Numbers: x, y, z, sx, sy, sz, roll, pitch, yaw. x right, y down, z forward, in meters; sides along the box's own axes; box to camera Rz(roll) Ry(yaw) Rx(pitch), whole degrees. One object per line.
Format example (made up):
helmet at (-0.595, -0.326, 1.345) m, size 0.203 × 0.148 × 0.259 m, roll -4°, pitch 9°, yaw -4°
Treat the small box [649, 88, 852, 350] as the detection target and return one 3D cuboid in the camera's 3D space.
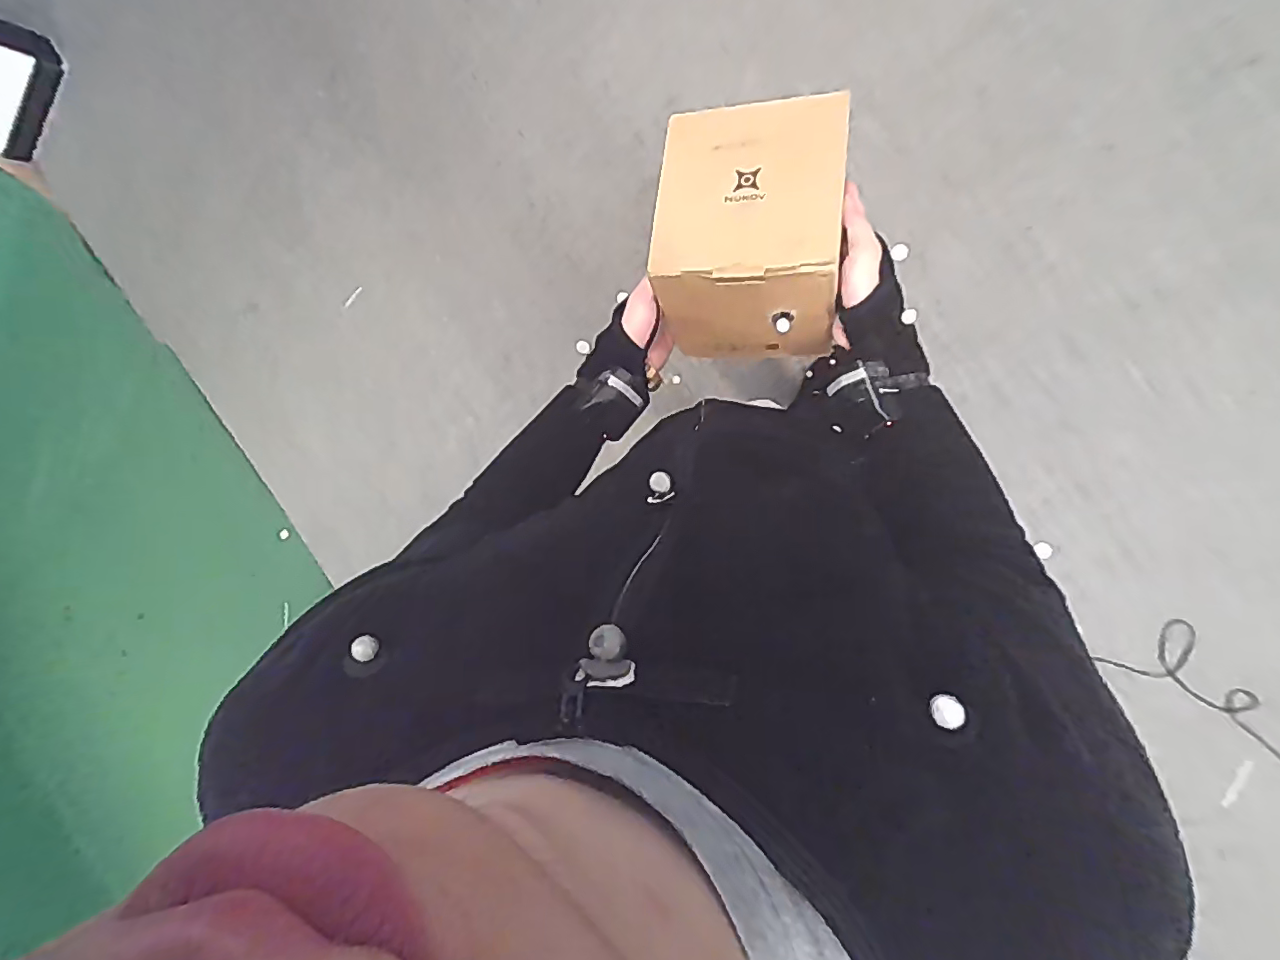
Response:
small box at (0.118, -0.245, 0.551) m, size 0.168 × 0.176 × 0.179 m, roll 4°, pitch 76°, yaw 16°
